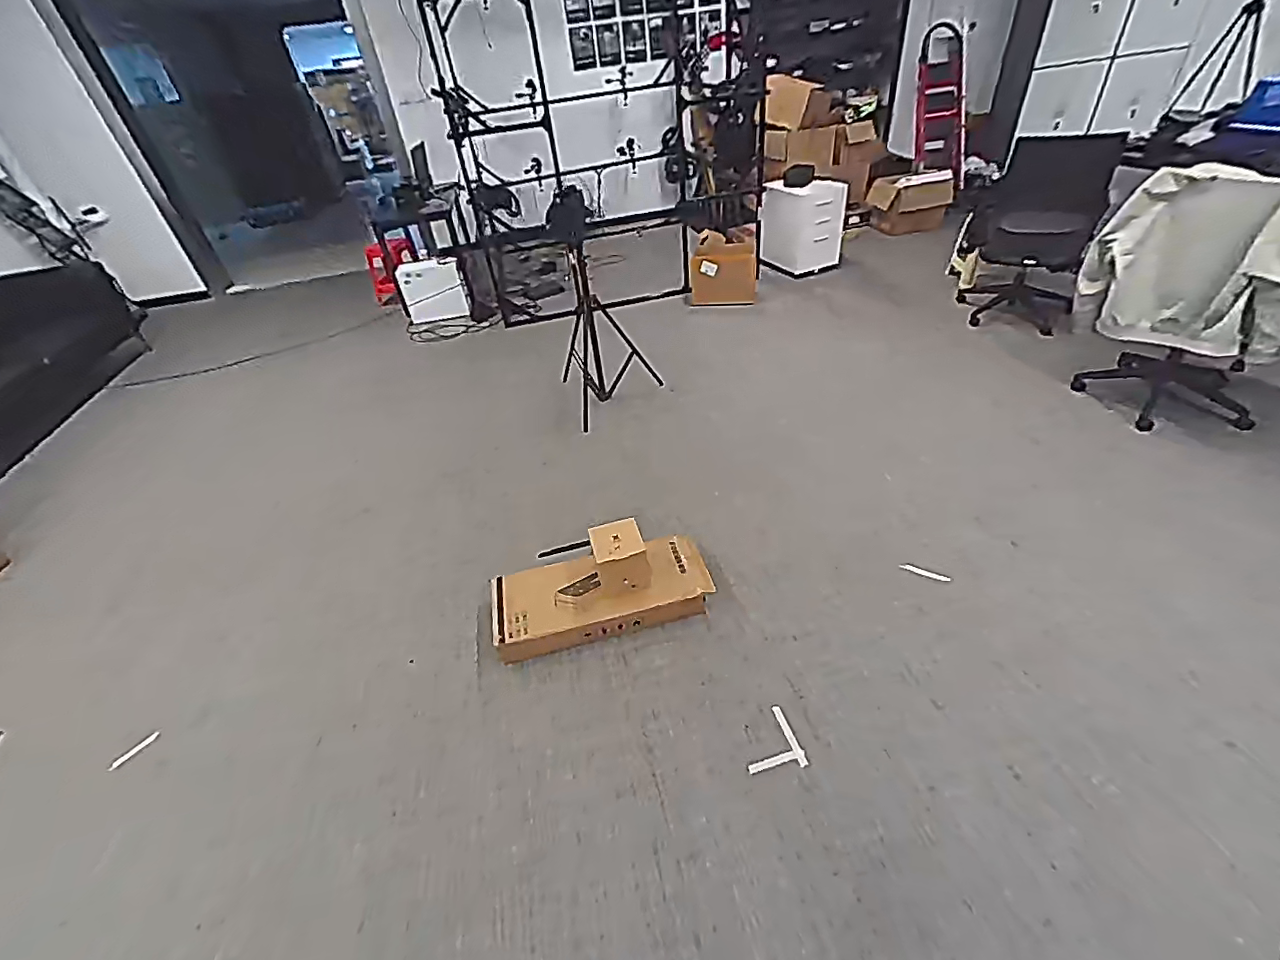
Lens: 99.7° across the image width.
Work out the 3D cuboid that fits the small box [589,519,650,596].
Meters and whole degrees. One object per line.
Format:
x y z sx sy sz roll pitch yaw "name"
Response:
-0.069 0.263 1.833 0.168 0.176 0.179 -14 38 -7 "small box"
